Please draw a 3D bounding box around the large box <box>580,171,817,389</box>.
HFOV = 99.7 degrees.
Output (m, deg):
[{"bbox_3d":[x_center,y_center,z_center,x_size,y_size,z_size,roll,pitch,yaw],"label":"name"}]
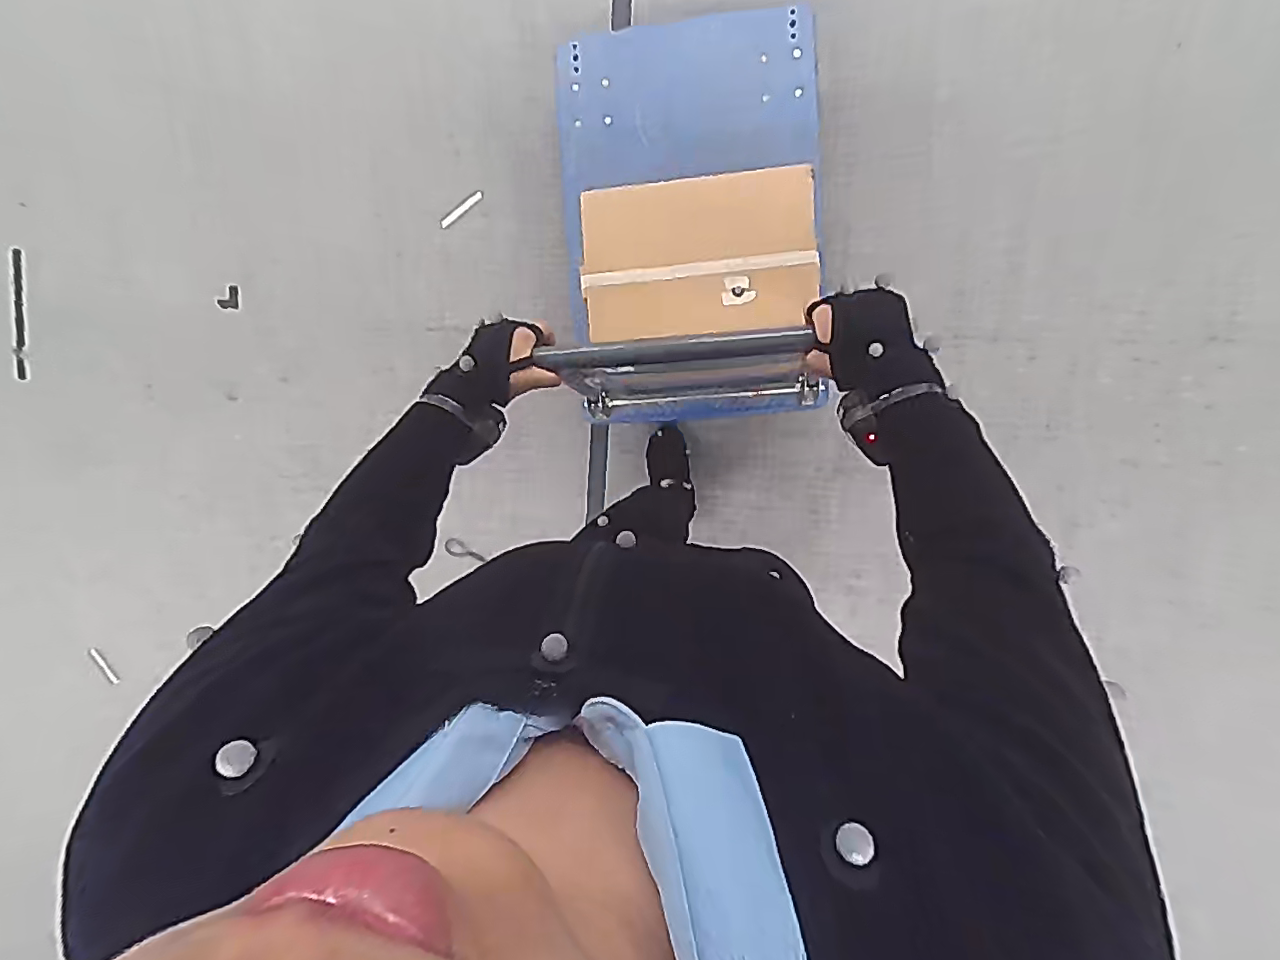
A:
[{"bbox_3d":[0.114,-0.370,1.097,0.408,0.320,0.320,-3,94,6],"label":"large box"}]
